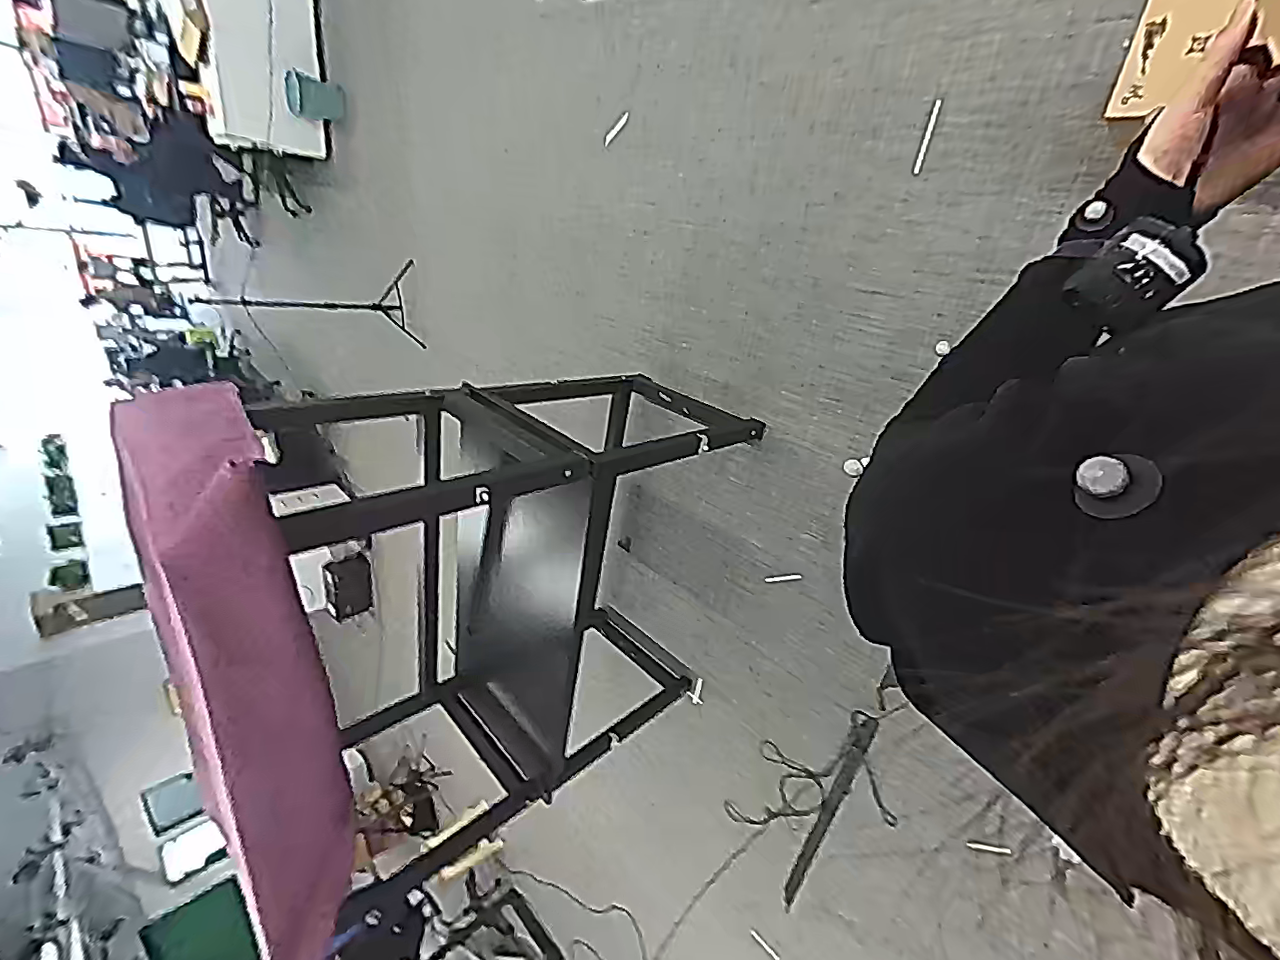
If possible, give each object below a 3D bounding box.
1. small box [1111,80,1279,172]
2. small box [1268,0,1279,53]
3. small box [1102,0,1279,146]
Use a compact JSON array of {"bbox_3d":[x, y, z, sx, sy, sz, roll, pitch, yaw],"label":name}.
[{"bbox_3d":[0.945,-0.635,0.910,0.168,0.176,0.179,31,121,35],"label":"small box"},{"bbox_3d":[0.392,-0.262,0.193,0.179,0.176,0.168,22,147,19],"label":"small box"},{"bbox_3d":[0.829,-0.607,0.797,0.179,0.176,0.168,26,118,36],"label":"small box"}]
